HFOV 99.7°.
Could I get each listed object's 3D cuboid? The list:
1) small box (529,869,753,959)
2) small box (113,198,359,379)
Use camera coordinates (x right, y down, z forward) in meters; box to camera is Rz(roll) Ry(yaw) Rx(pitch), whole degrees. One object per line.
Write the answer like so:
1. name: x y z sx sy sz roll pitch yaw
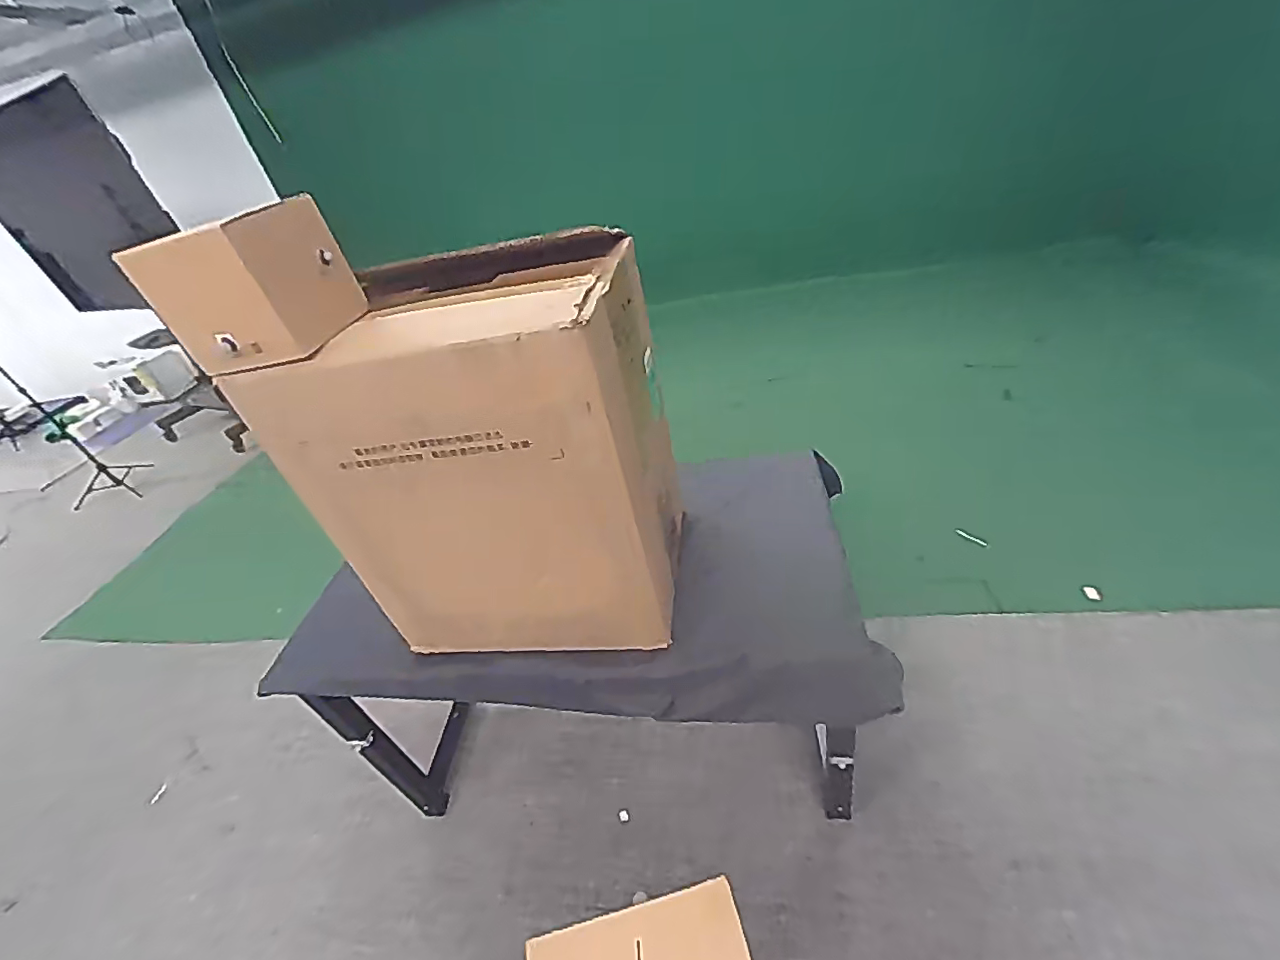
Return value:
1. small box: 0.018 0.446 0.430 0.168 0.176 0.179 -13 48 -8
2. small box: -0.522 -0.259 0.735 0.168 0.176 0.179 -9 38 12
